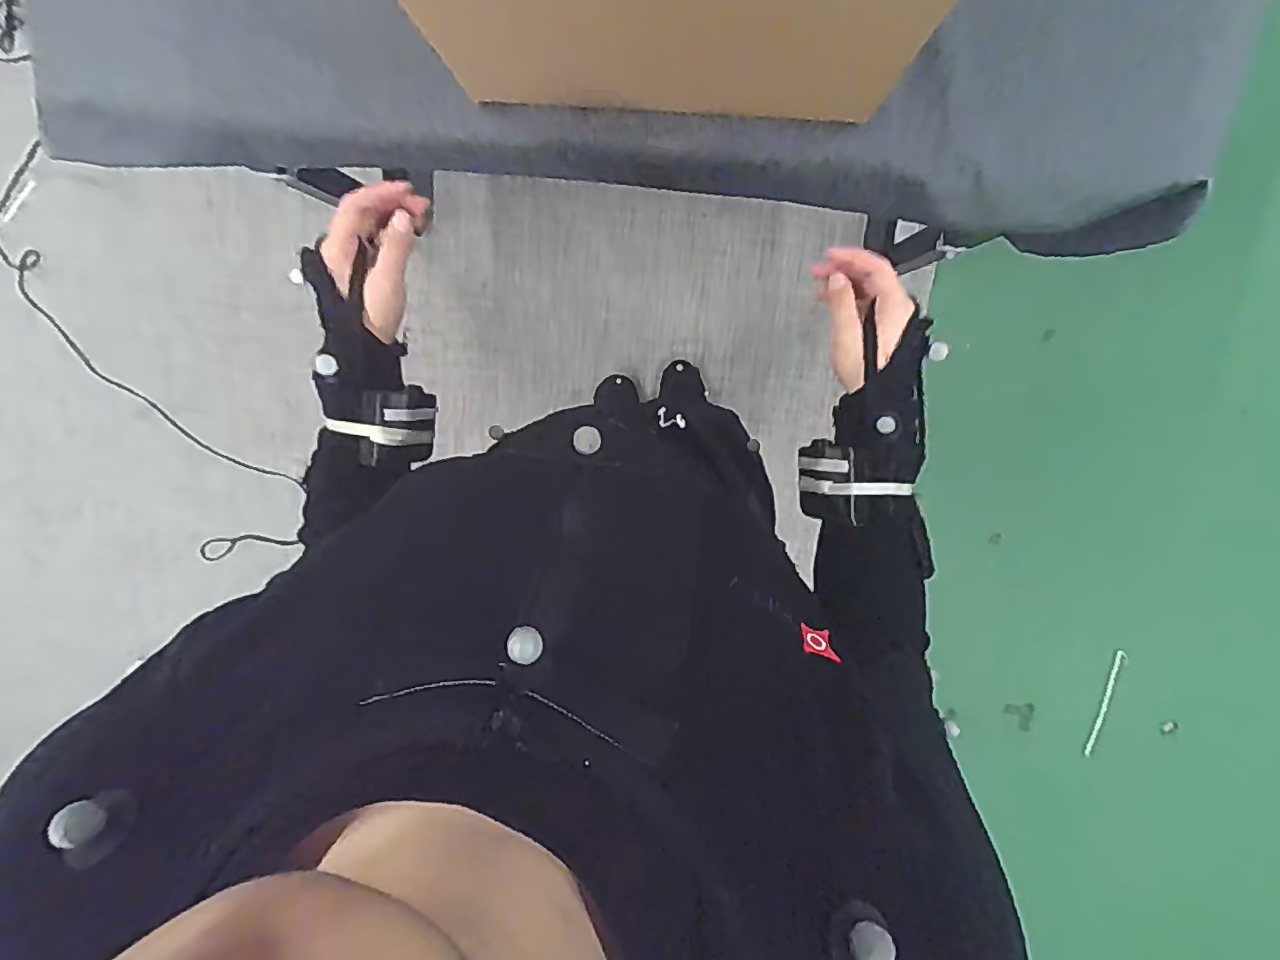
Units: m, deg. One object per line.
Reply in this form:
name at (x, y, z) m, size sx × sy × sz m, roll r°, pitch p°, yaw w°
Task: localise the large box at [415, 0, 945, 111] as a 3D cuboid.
large box at (0.029, -0.500, 0.375) m, size 0.408 × 0.320 × 0.320 m, roll 4°, pitch 102°, yaw 1°
